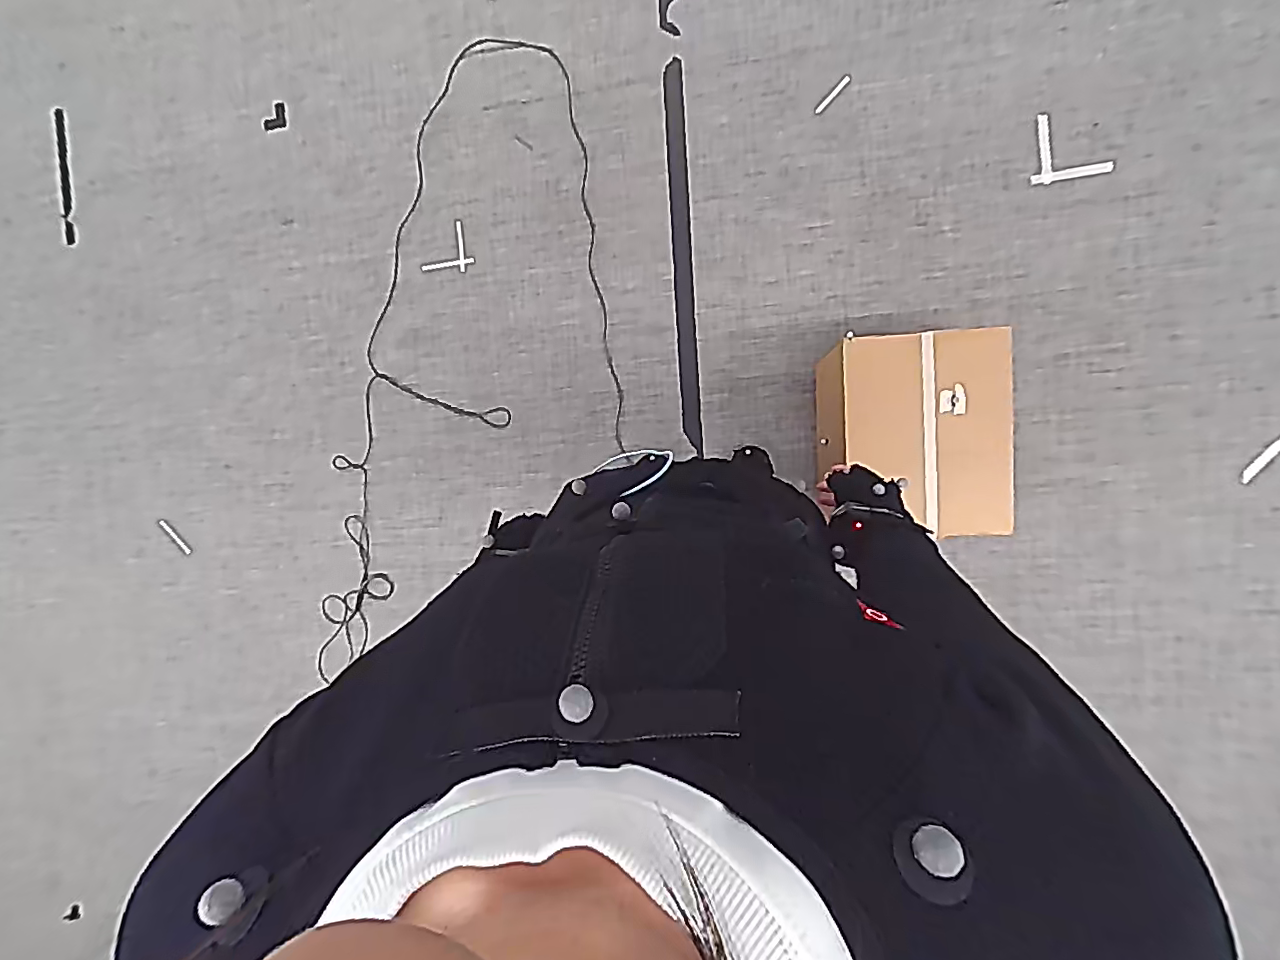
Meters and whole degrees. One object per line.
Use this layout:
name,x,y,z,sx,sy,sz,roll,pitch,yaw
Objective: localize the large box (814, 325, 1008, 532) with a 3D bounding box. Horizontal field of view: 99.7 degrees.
large box,0.587,-0.104,1.232,0.320,0.320,0.408,-2,92,7
